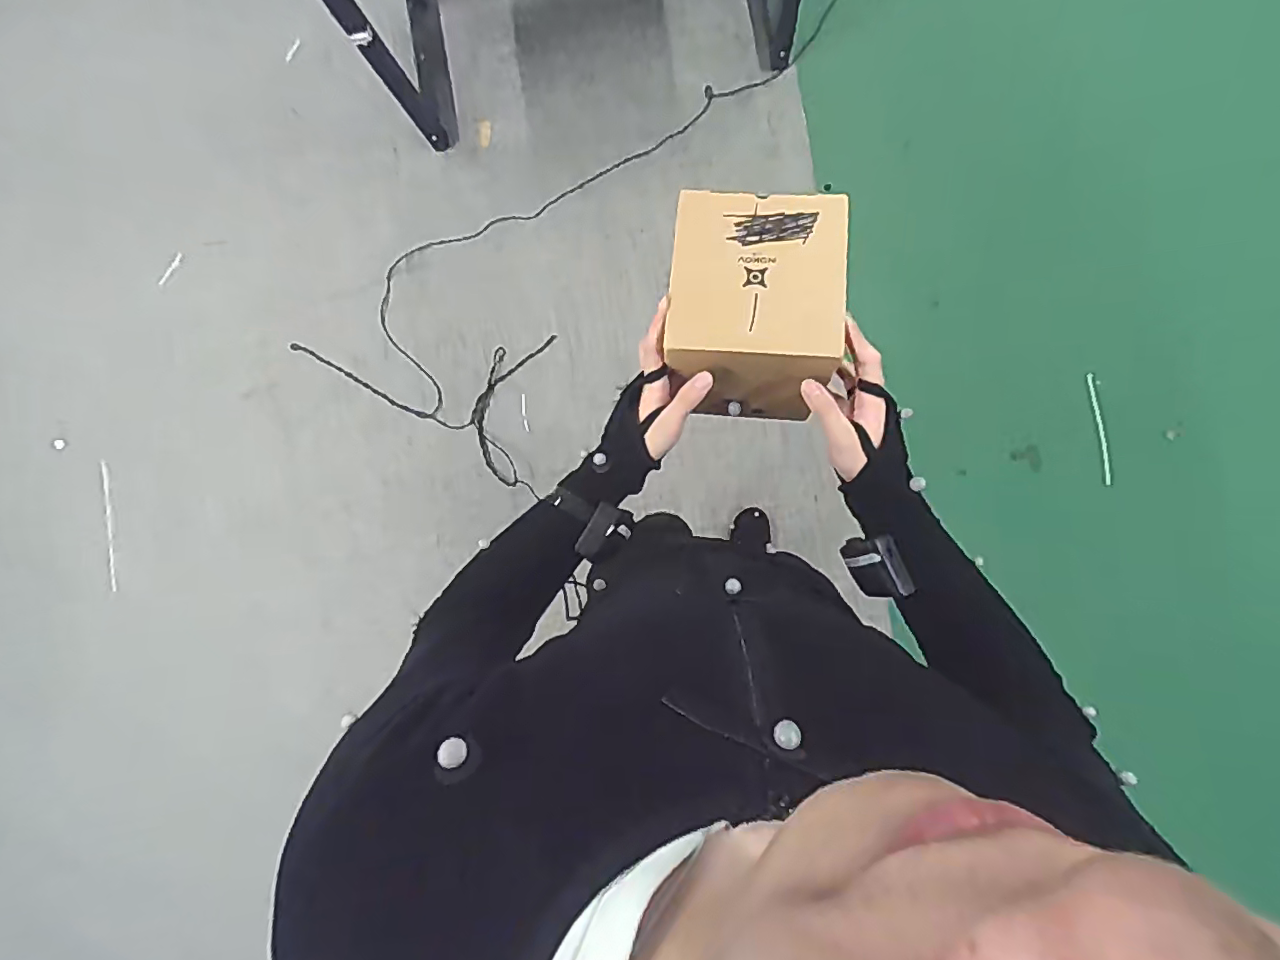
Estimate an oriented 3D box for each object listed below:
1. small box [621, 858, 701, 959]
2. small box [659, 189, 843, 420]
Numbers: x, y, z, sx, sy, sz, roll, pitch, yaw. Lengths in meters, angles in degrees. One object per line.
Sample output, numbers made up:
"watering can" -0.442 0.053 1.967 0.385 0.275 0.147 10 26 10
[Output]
"small box" 0.056 1.048 1.293 0.168 0.176 0.179 -7 86 6
"small box" 0.114 -0.181 0.590 0.168 0.176 0.179 5 77 7
